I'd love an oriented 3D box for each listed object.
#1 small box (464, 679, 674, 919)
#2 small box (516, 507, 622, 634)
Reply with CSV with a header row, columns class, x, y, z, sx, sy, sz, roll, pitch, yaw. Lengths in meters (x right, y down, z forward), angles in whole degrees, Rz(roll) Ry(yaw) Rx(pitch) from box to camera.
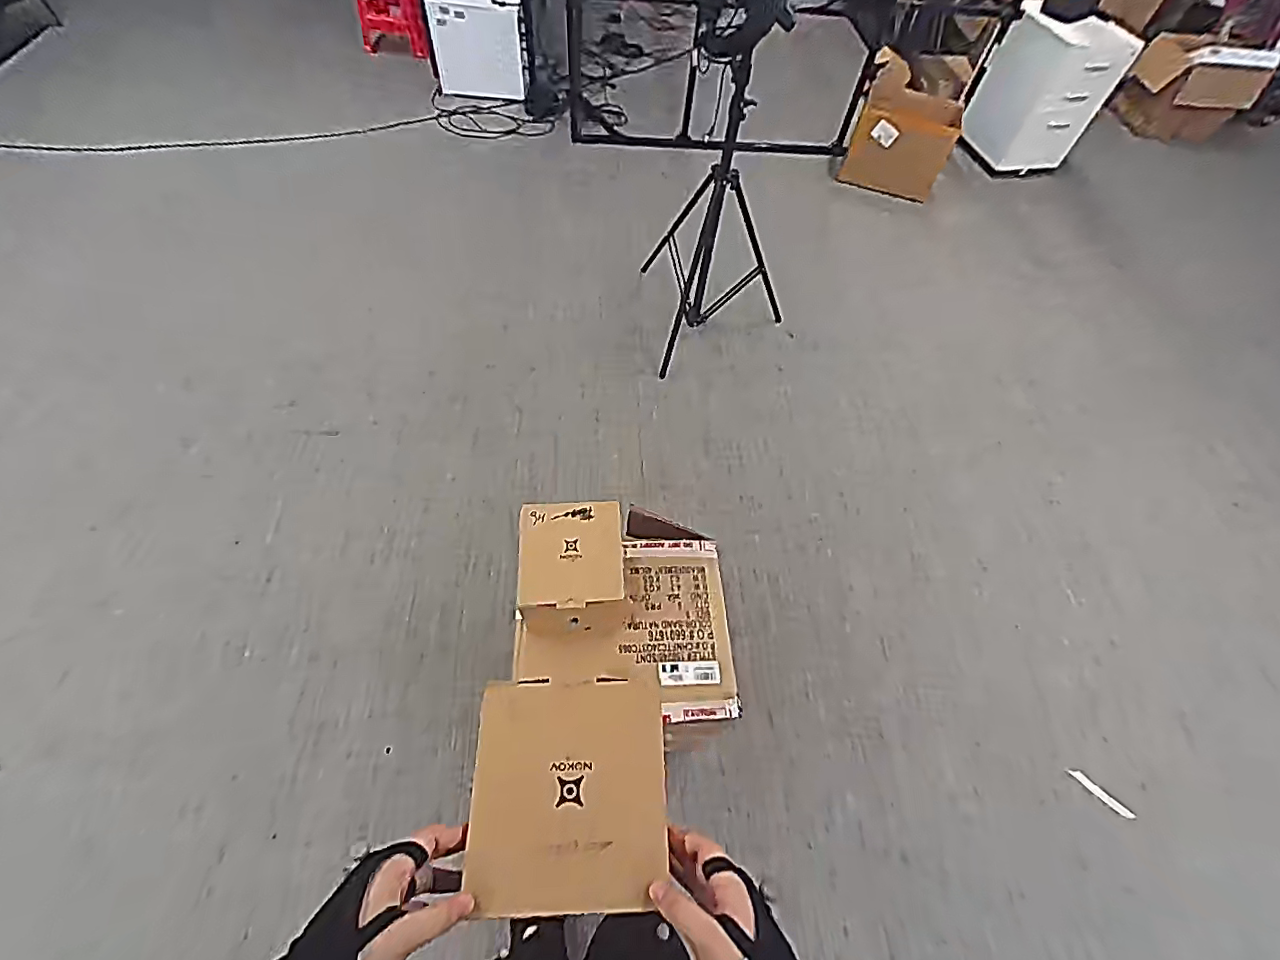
class,x,y,z,sx,sy,sz,roll,pitch,yaw
small box,-0.060,0.304,0.529,0.168,0.176,0.179,-1,59,-3
small box,-0.115,0.162,0.930,0.168,0.176,0.179,-2,61,-5
